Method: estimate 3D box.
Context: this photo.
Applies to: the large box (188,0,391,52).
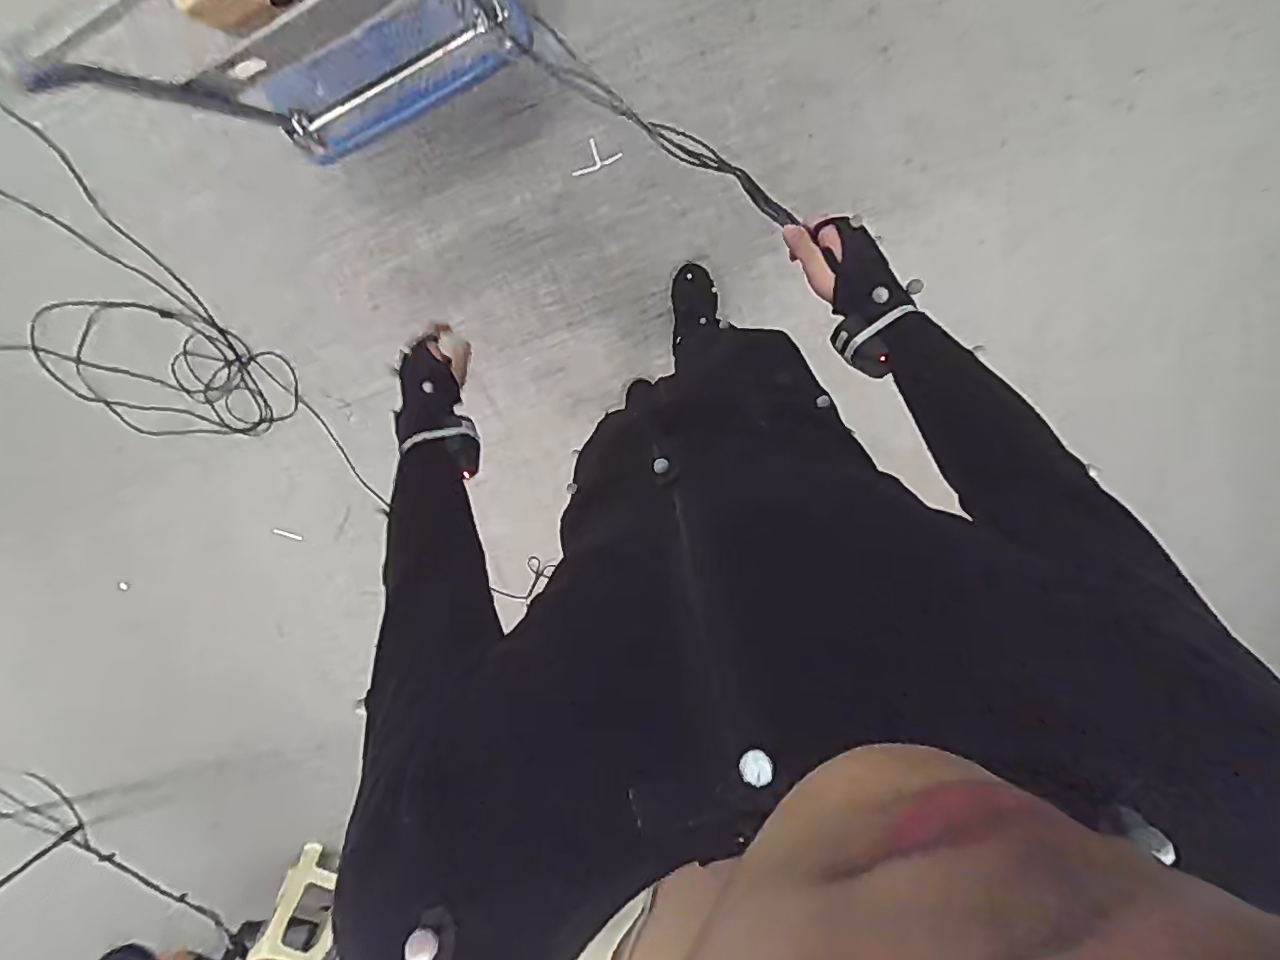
[{"bbox_3d":[-0.642,-1.027,0.874,0.320,0.320,0.408,-17,112,10],"label":"large box"}]
